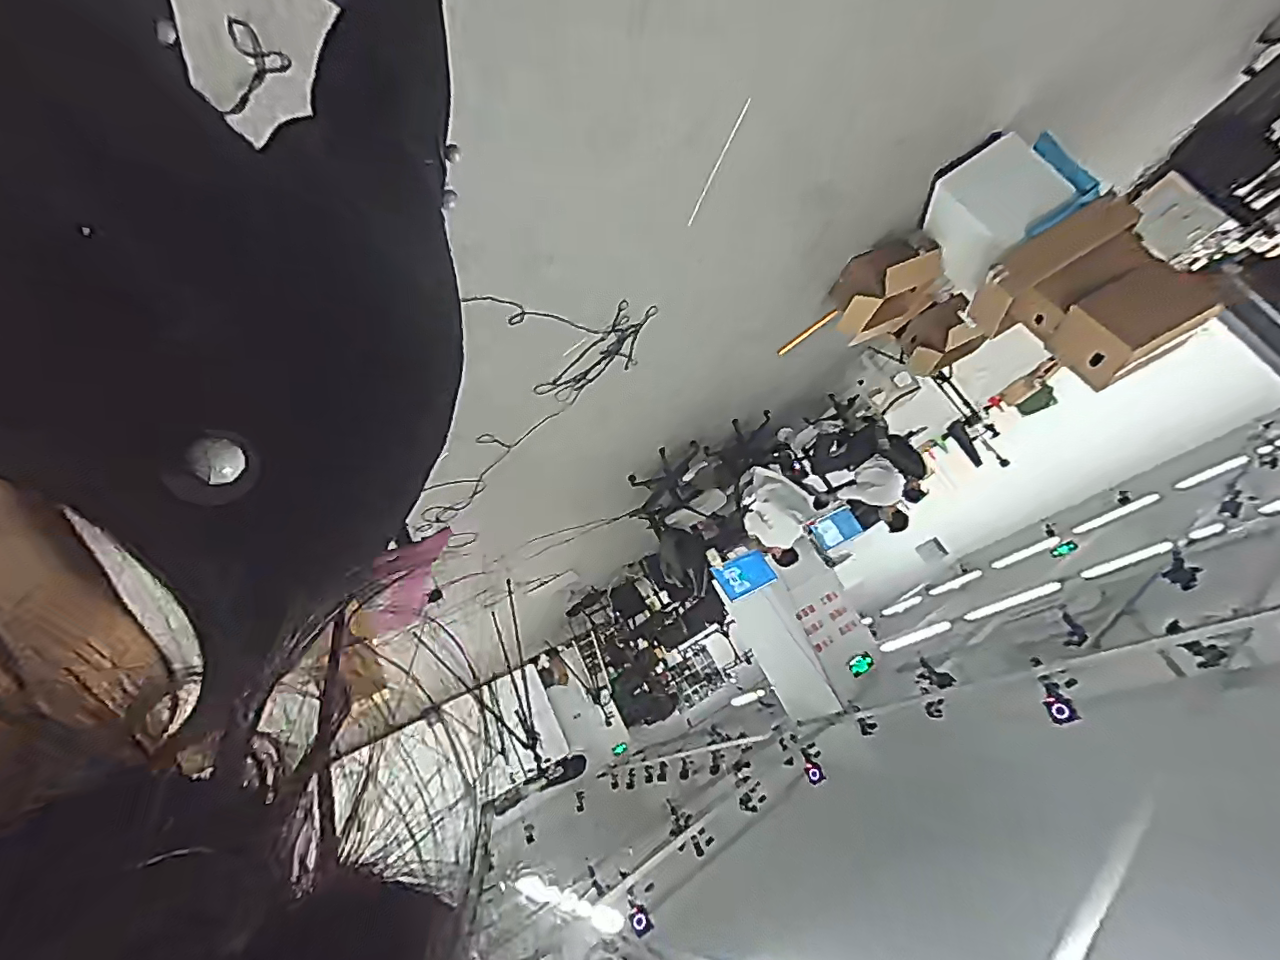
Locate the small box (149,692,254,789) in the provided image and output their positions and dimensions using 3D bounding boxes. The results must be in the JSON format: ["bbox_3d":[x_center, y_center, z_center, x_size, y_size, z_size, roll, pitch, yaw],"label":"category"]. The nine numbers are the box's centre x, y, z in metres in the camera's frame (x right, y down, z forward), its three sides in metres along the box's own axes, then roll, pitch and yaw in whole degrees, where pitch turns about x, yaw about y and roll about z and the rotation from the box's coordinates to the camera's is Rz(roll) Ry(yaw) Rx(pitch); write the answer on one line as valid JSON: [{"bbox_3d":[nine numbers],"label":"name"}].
[{"bbox_3d":[-1.167,0.692,1.446,0.179,0.176,0.168,-17,159,-36],"label":"small box"}]

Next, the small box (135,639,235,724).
[{"bbox_3d":[-1.257,0.564,1.499,0.179,0.176,0.168,-15,158,-36],"label":"small box"}]

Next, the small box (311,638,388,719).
[{"bbox_3d":[-0.880,0.602,1.647,0.168,0.176,0.179,-19,161,-31],"label":"small box"}]
